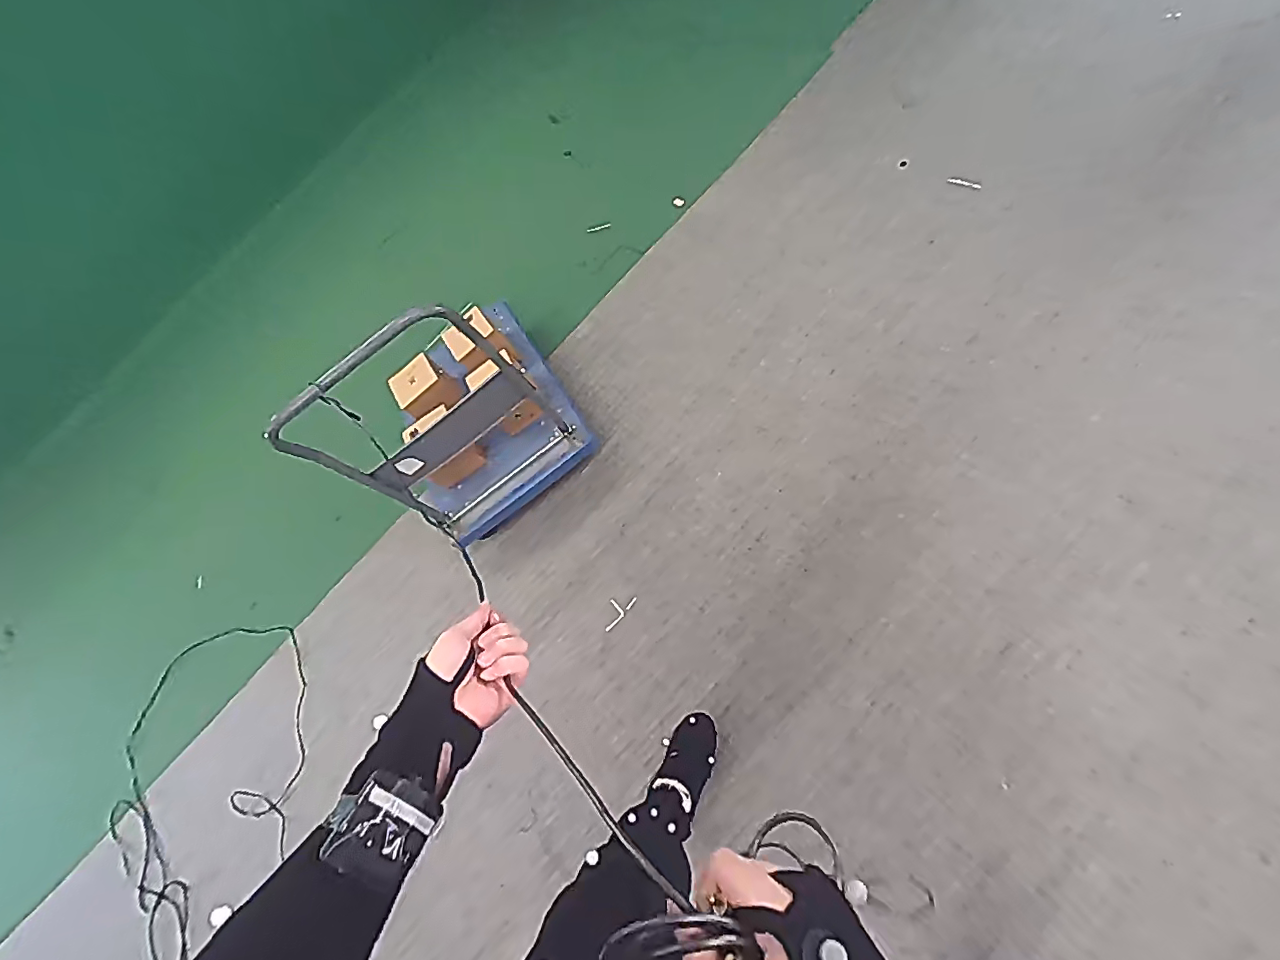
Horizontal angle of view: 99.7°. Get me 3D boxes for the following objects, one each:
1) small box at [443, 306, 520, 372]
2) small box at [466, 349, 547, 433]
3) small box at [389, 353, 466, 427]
[{"bbox_3d":[-0.564,-0.477,1.930,0.168,0.176,0.179,-40,57,3],"label":"small box"},{"bbox_3d":[-0.437,-0.288,1.783,0.168,0.176,0.179,-36,57,5],"label":"small box"},{"bbox_3d":[-0.756,-0.315,1.939,0.168,0.176,0.179,-40,56,2],"label":"small box"}]
